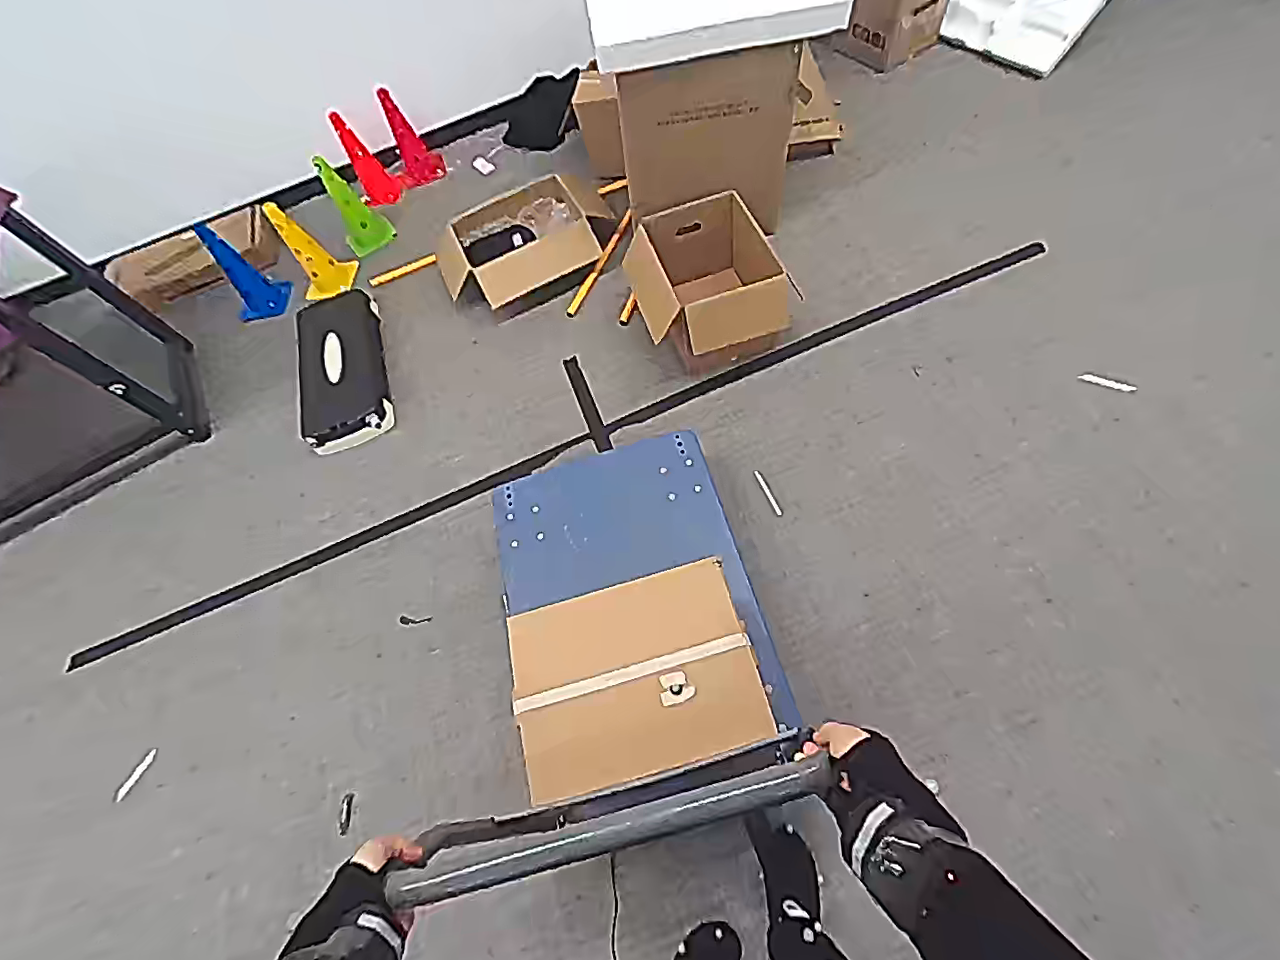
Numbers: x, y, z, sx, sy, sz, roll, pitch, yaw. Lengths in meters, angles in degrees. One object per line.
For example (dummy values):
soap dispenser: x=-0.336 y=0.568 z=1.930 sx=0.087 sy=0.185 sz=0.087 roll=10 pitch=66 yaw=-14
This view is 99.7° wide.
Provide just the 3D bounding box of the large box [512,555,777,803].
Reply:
large box: x=0.011 y=0.394 z=1.056 sx=0.408 sy=0.320 sz=0.320 roll=-17 pitch=62 yaw=0
